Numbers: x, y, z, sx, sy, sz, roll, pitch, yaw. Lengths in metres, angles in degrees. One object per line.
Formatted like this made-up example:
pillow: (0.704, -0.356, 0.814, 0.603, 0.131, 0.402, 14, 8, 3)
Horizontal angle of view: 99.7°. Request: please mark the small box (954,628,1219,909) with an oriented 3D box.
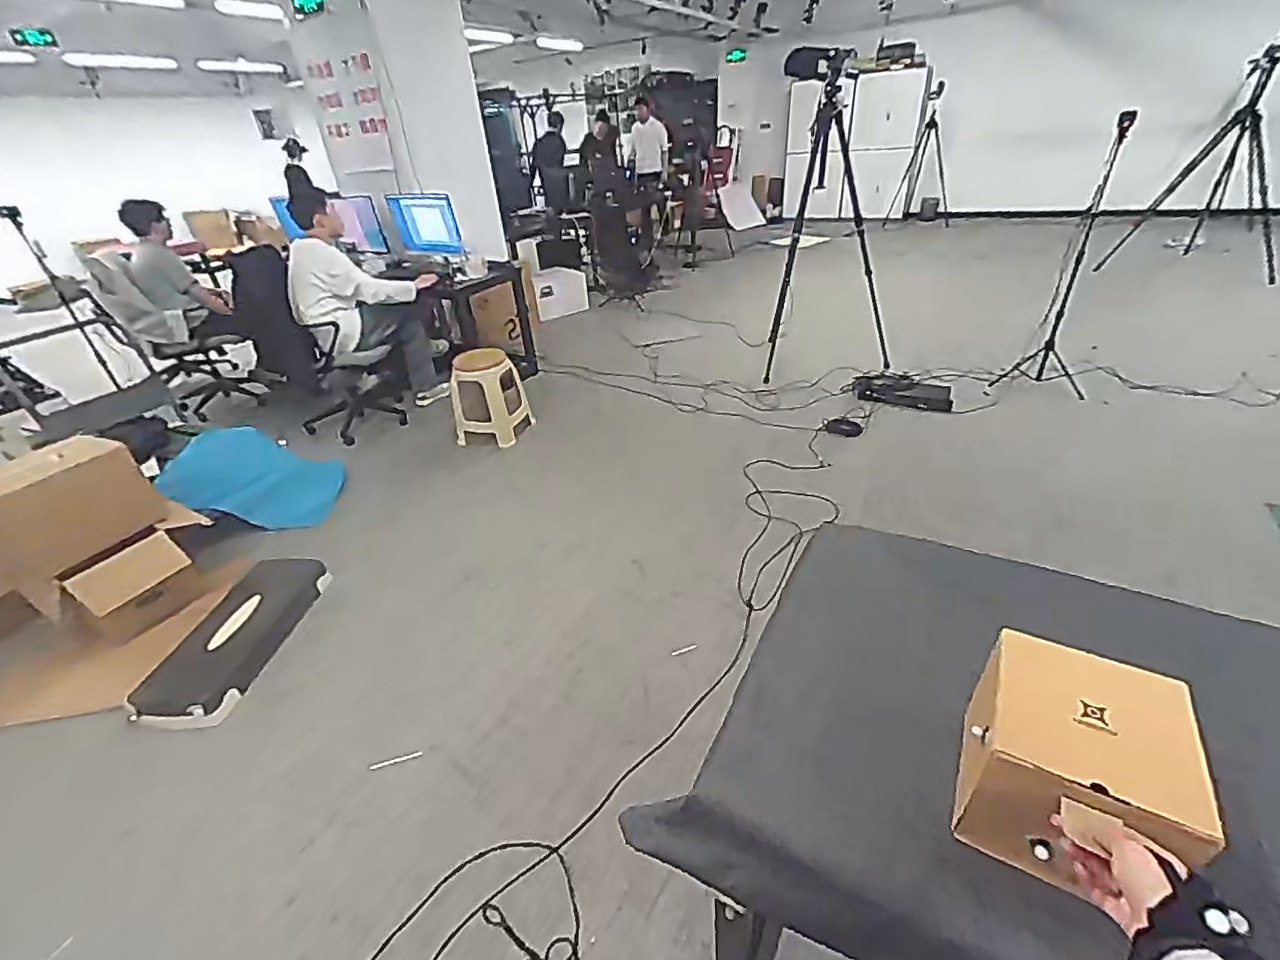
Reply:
small box: (0.458, 0.303, 0.587, 0.168, 0.176, 0.179, 15, 38, 27)
